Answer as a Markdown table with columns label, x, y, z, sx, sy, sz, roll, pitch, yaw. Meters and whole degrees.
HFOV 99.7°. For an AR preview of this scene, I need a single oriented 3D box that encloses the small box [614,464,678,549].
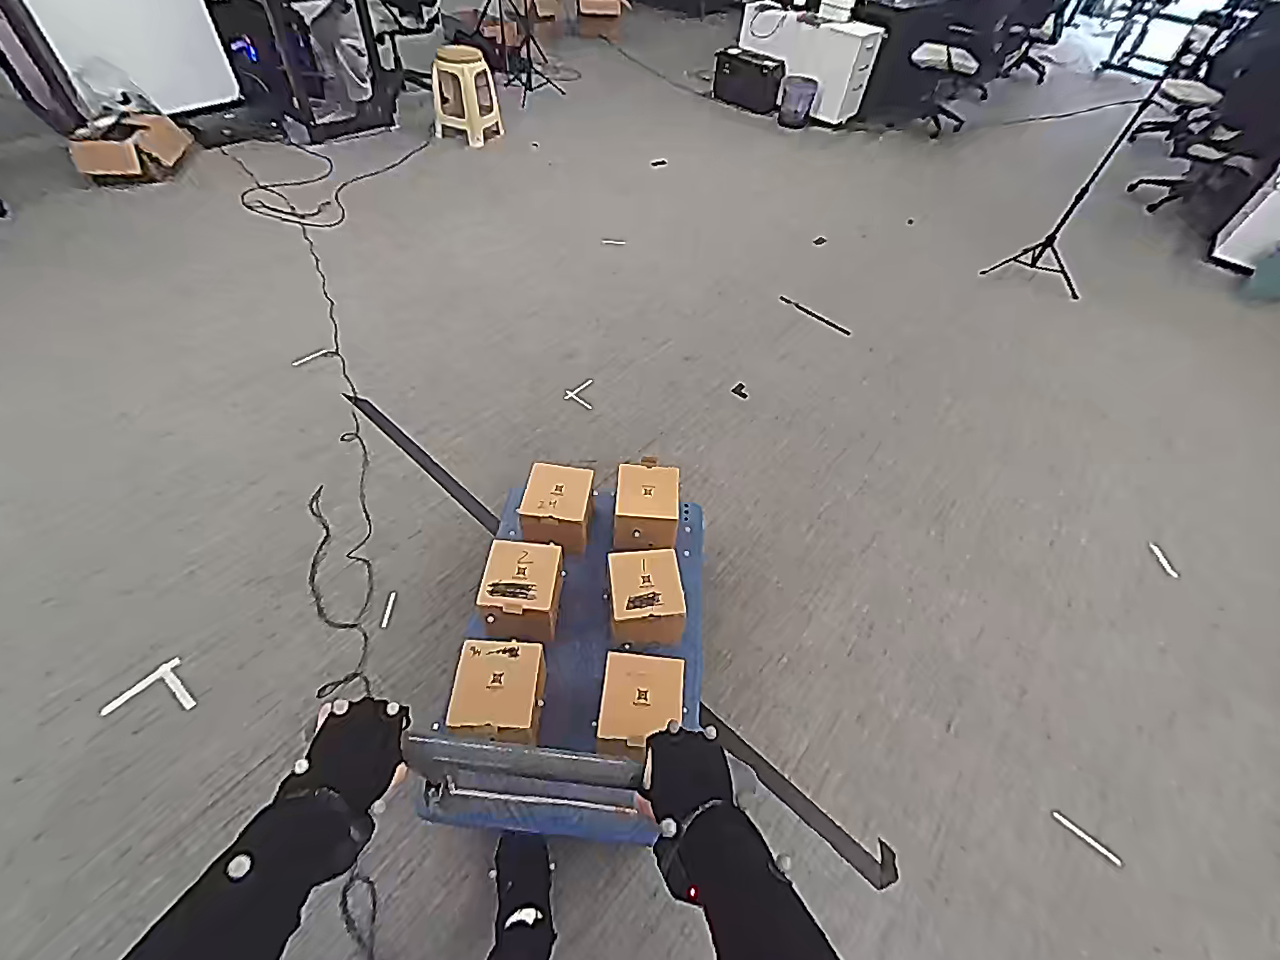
| label | x | y | z | sx | sy | sz | roll | pitch | yaw |
| --- | --- | --- | --- | --- | --- | --- | --- | --- | --- |
| small box | 0.015 | 0.078 | 1.501 | 0.168 | 0.176 | 0.179 | 4 | 51 | -2 |

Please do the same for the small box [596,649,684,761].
| label | x | y | z | sx | sy | sz | roll | pitch | yaw |
| --- | --- | --- | --- | --- | --- | --- | --- | --- | --- |
| small box | -0.002 | 0.489 | 1.165 | 0.168 | 0.176 | 0.179 | 8 | 50 | 0 |

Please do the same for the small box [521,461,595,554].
| label | x | y | z | sx | sy | sz | roll | pitch | yaw |
| --- | --- | --- | --- | --- | --- | --- | --- | --- | --- |
| small box | -0.219 | 0.077 | 1.475 | 0.168 | 0.176 | 0.179 | 8 | 51 | 1 |

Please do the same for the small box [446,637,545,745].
| label | x | y | z | sx | sy | sz | roll | pitch | yaw |
| --- | --- | --- | --- | --- | --- | --- | --- | --- | --- |
| small box | -0.298 | 0.456 | 1.159 | 0.168 | 0.176 | 0.179 | 5 | 51 | -3 |

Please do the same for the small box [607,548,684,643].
| label | x | y | z | sx | sy | sz | roll | pitch | yaw |
| --- | --- | --- | --- | --- | --- | --- | --- | --- | --- |
| small box | 0.008 | 0.289 | 1.328 | 0.168 | 0.176 | 0.179 | -3 | 51 | -8 |
